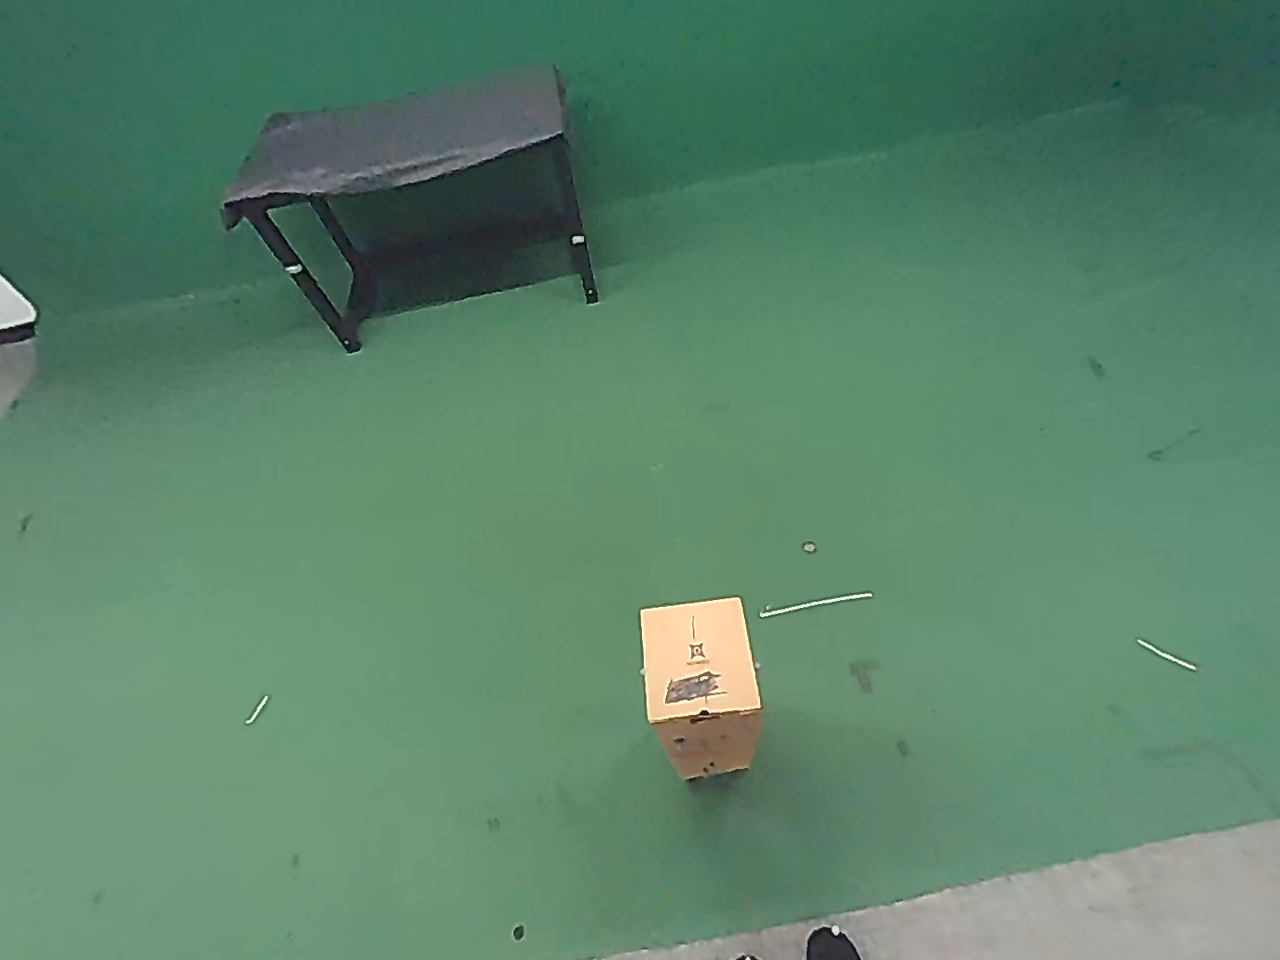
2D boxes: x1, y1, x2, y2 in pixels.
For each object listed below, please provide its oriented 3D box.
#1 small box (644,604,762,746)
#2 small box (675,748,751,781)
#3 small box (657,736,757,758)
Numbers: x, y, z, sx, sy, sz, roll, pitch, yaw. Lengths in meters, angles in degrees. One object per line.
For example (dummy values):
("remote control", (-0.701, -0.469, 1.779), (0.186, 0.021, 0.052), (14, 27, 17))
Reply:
("small box", (0.103, 0.323, 0.878), (0.168, 0.176, 0.179), (-8, 52, 5))
("small box", (0.164, 0.601, 1.280), (0.168, 0.176, 0.179), (-12, 52, 2))
("small box", (0.121, 0.412, 1.015), (0.179, 0.176, 0.168), (-9, 53, 4))
